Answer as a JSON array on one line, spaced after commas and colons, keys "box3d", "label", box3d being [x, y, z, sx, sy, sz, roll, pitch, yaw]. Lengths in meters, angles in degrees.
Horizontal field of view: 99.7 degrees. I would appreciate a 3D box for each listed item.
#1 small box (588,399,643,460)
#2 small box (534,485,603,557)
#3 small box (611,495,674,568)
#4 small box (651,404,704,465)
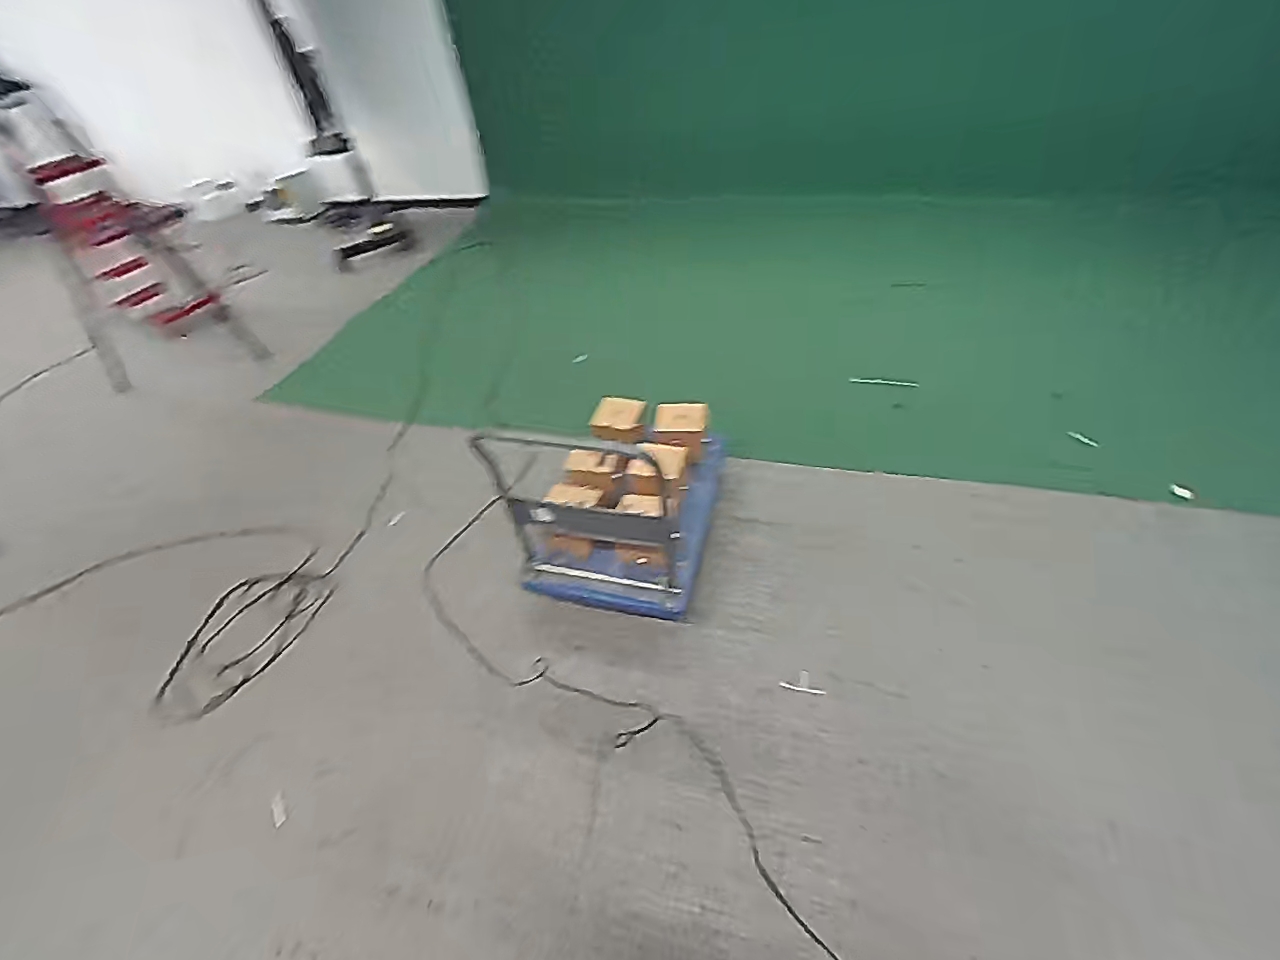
[{"box3d": [-0.092, -0.201, 2.190, 0.168, 0.176, 0.179, 10, 48, 16], "label": "small box"}, {"box3d": [-0.238, 0.144, 1.865, 0.179, 0.176, 0.168, 8, 47, 16], "label": "small box"}, {"box3d": [0.015, 0.174, 1.800, 0.179, 0.176, 0.168, 6, 46, 12], "label": "small box"}, {"box3d": [0.151, -0.176, 2.125, 0.179, 0.176, 0.168, 8, 50, 14], "label": "small box"}]
